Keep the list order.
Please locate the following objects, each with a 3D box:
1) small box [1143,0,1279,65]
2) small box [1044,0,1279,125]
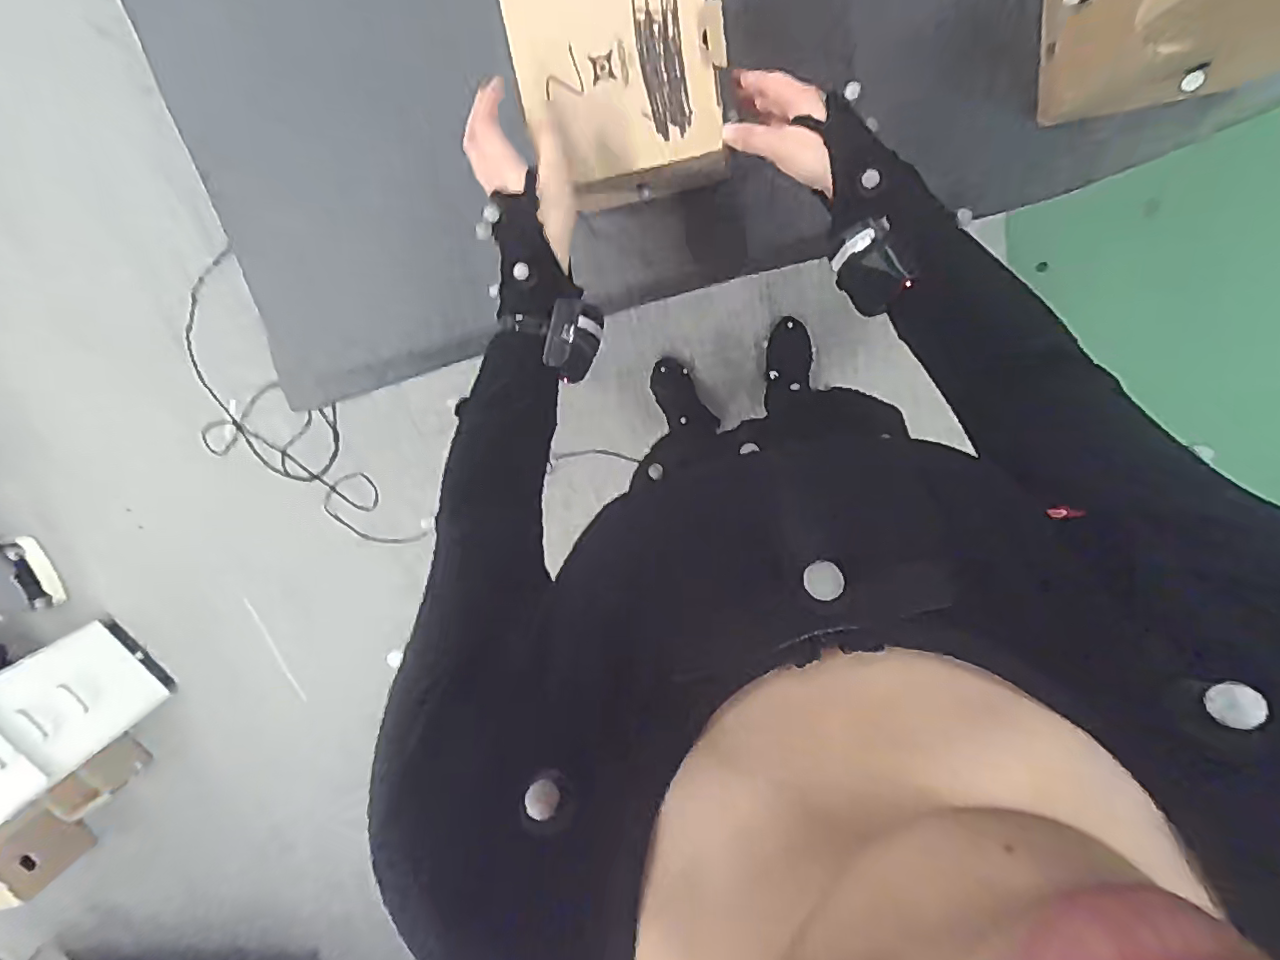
[{"bbox_3d":[0.440,-0.349,0.285,0.179,0.176,0.168,15,110,5],"label":"small box"},{"bbox_3d":[0.463,-0.415,0.433,0.179,0.176,0.168,-5,107,13],"label":"small box"}]
